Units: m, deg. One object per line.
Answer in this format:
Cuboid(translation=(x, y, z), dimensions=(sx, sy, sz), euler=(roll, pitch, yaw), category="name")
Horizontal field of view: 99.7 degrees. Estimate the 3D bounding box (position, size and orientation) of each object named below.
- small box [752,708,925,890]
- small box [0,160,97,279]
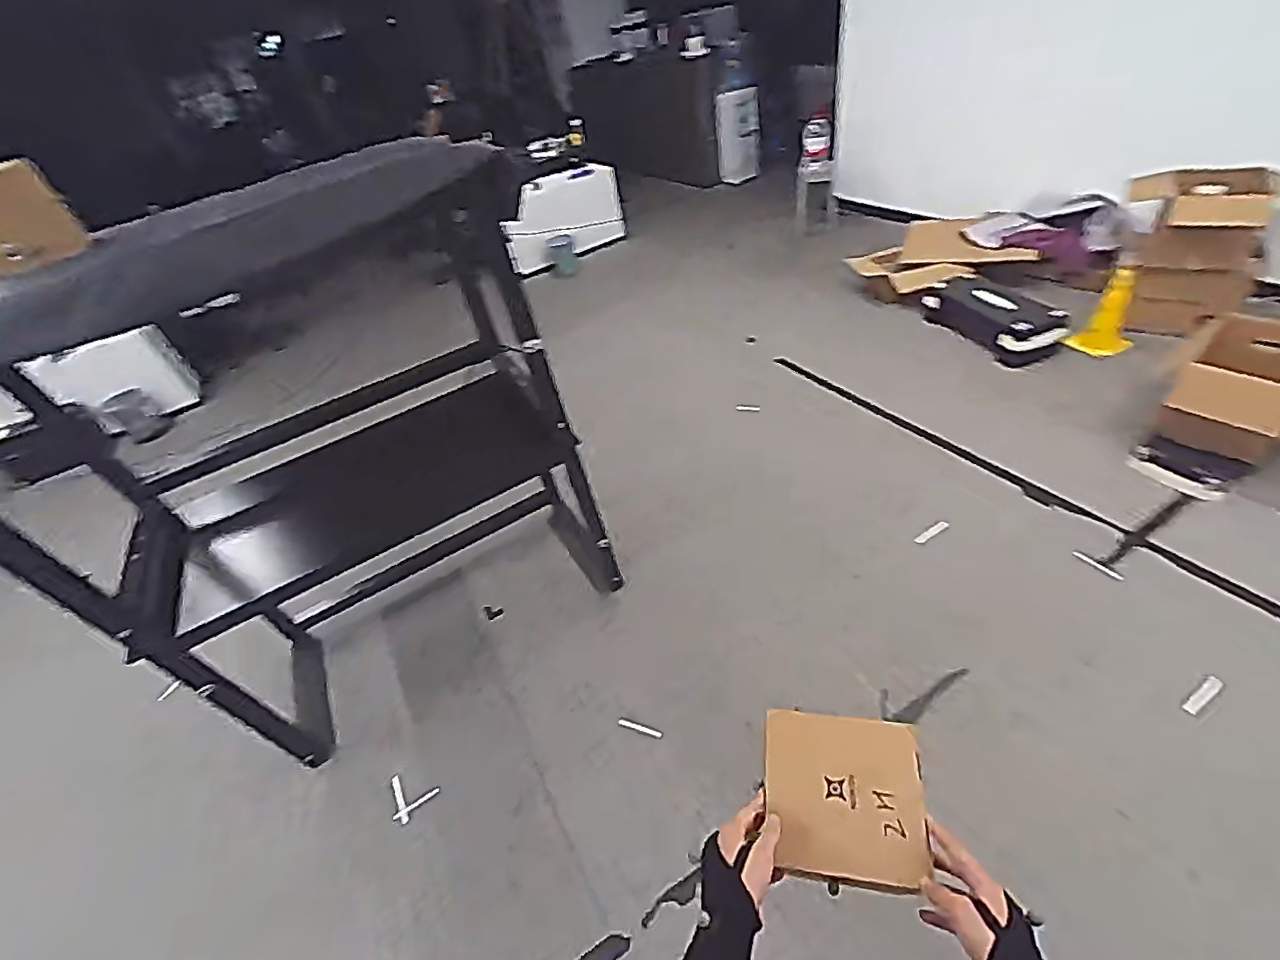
Cuboid(translation=(0.231, 0.401, 0.678), dimensions=(0.179, 0.176, 0.168), euler=(1, 53, 11), category="small box")
Cuboid(translation=(-1.266, -0.528, 1.097), dimensions=(0.168, 0.176, 0.179), euler=(-33, 45, -19), category="small box")
